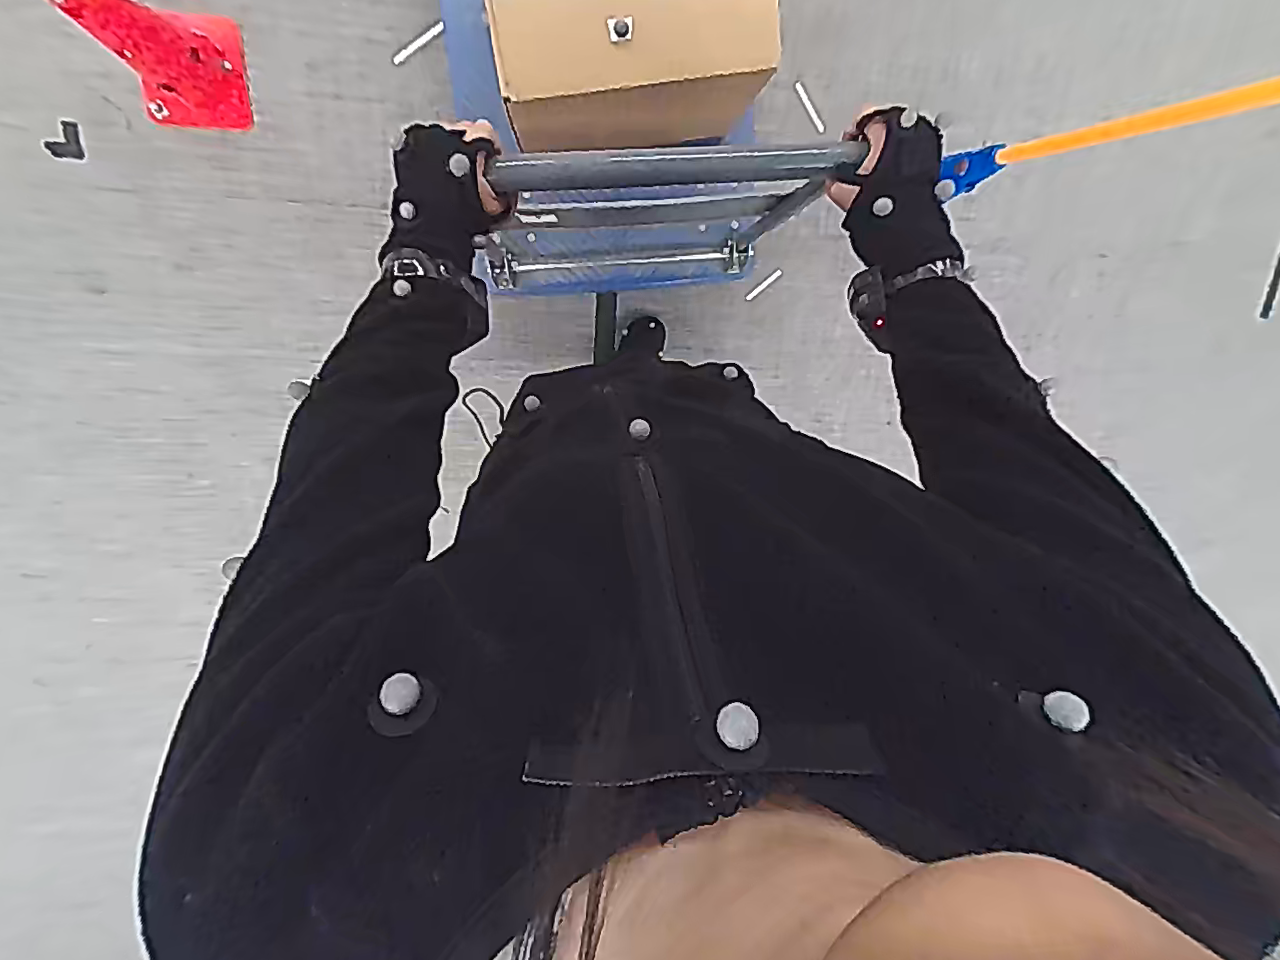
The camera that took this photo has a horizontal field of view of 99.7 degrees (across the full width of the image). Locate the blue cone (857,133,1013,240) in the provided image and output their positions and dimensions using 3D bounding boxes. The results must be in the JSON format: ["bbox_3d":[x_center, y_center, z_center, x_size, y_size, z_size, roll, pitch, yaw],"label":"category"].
[{"bbox_3d":[0.636,-0.644,1.155,0.193,0.380,0.192,-3,105,-7],"label":"blue cone"}]
